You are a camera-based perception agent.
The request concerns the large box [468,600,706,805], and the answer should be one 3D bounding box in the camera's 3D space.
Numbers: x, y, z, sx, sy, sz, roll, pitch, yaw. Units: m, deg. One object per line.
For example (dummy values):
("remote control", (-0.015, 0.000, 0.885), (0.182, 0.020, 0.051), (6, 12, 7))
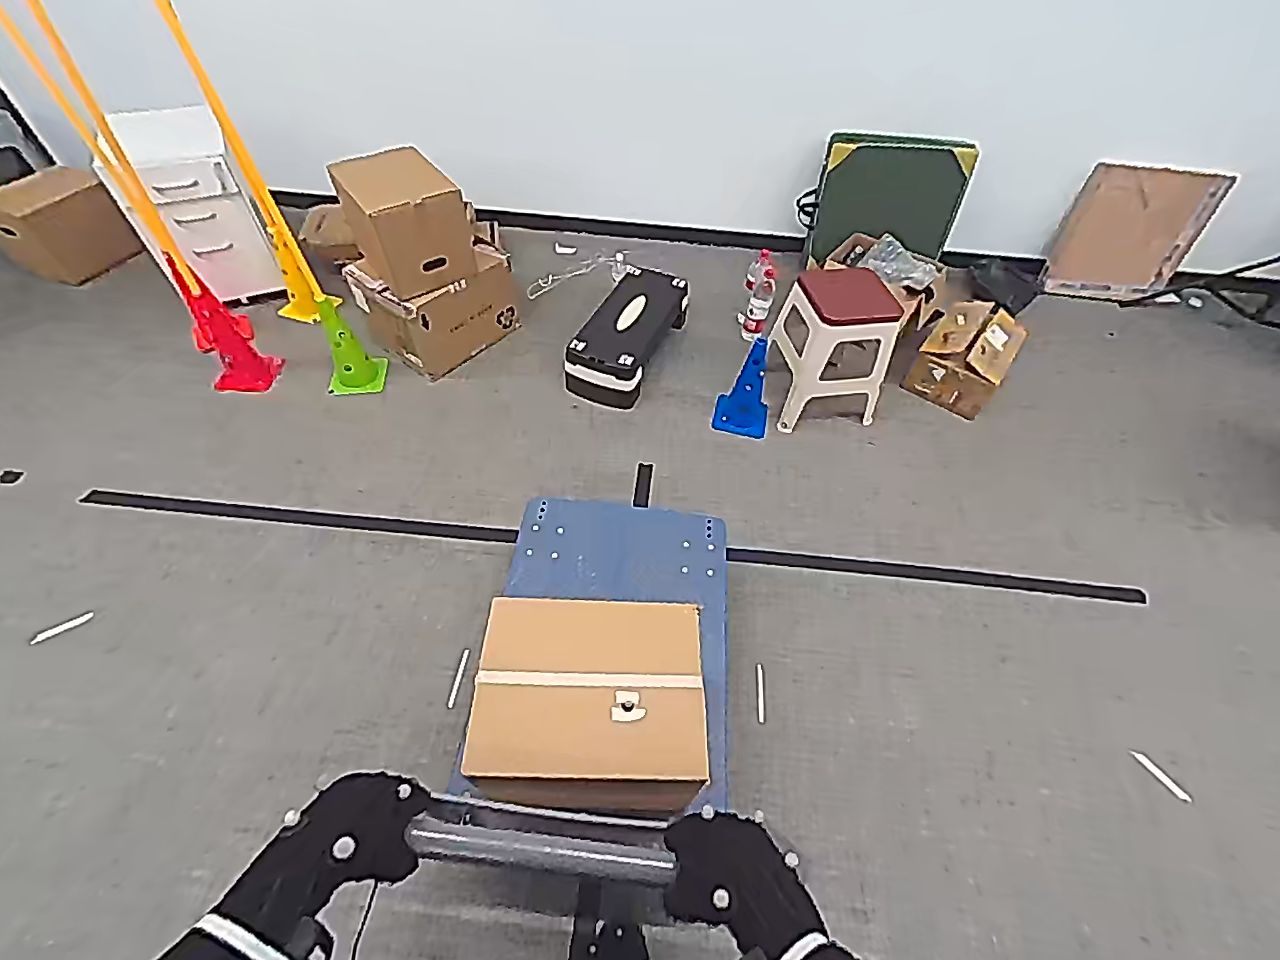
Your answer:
("large box", (-0.100, 0.460, 1.101), (0.408, 0.320, 0.320), (3, 51, -3))
